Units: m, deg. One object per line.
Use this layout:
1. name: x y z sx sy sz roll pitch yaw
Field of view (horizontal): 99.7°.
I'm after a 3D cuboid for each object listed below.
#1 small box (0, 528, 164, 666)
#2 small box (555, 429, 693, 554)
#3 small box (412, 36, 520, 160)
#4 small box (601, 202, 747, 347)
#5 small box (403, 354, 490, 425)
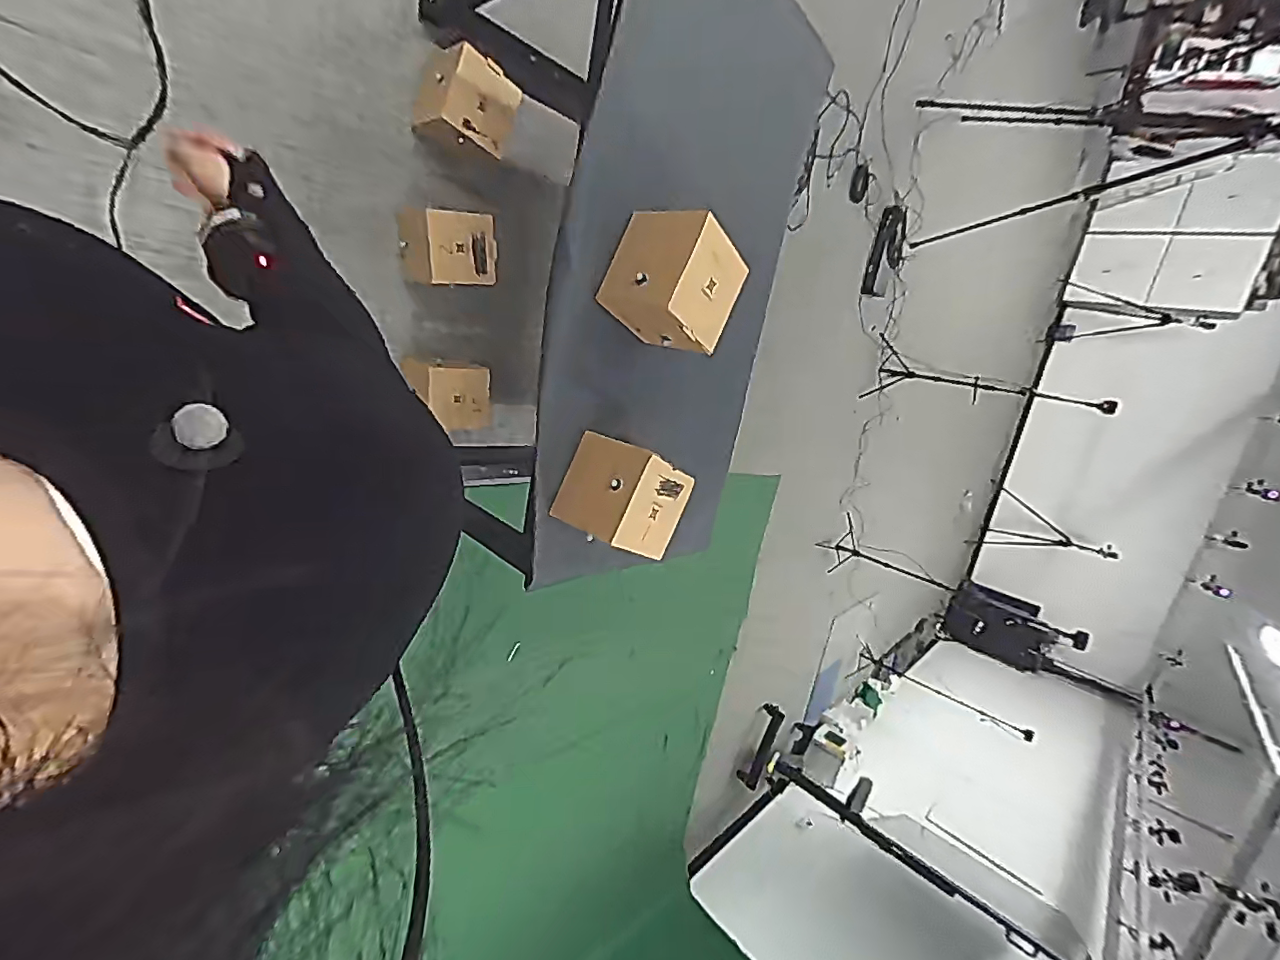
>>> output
1. small box: -1.109 0.226 1.078 0.168 0.176 0.179 -42 133 -27
2. small box: -0.033 0.019 1.027 0.168 0.176 0.179 27 85 -52
3. small box: -0.425 -0.914 1.312 0.168 0.176 0.179 14 96 -50
4. small box: 0.056 -0.361 0.960 0.168 0.176 0.179 26 86 -53
5. small box: -0.537 -0.251 1.487 0.179 0.176 0.168 -11 115 -45
